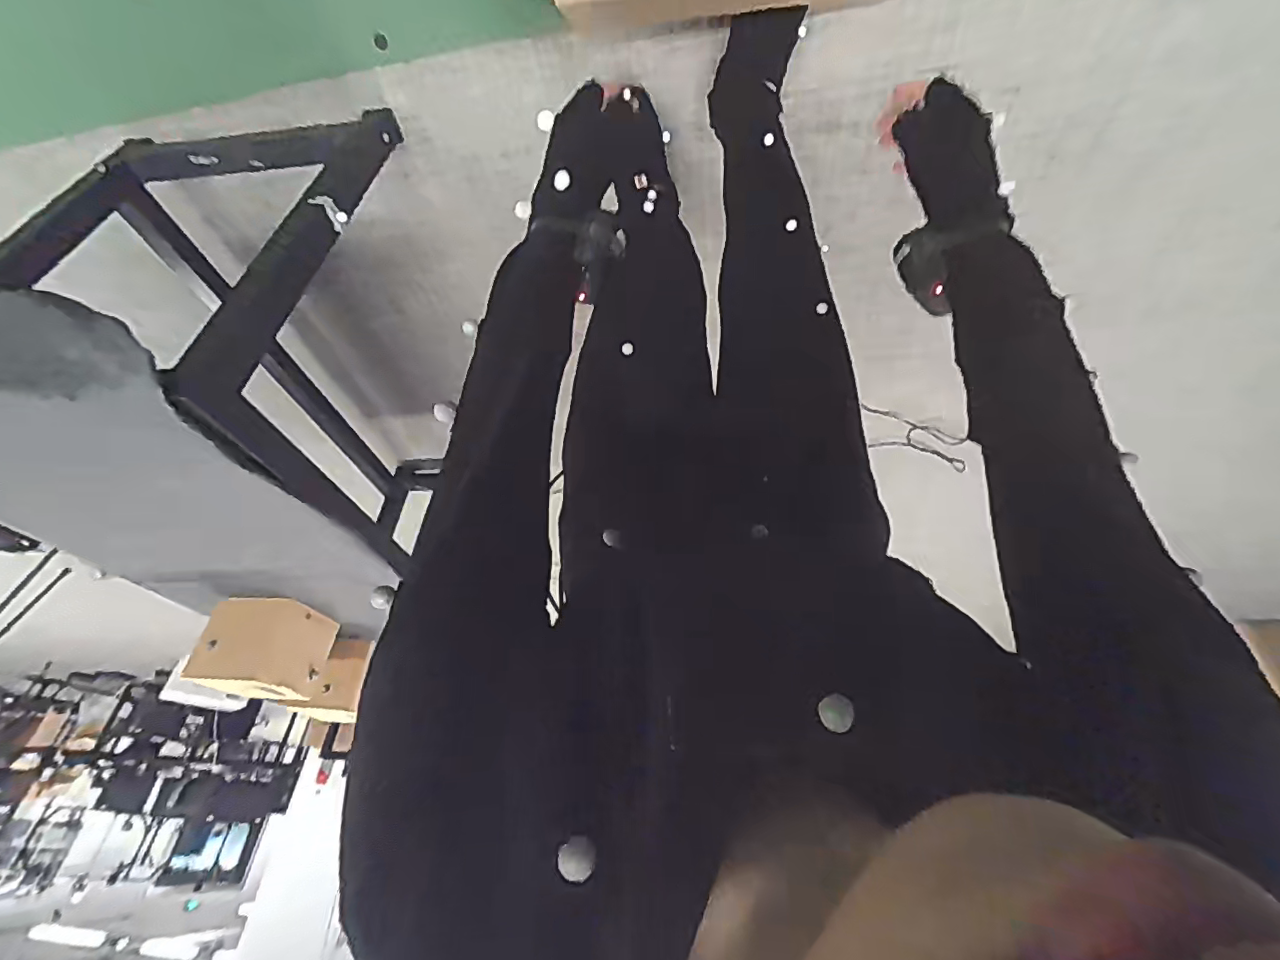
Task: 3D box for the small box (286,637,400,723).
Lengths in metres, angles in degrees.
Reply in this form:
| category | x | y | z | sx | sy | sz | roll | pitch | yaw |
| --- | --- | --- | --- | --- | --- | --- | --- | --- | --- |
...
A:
| category | x | y | z | sx | sy | sz | roll | pitch | yaw |
| --- | --- | --- | --- | --- | --- | --- | --- | --- | --- |
| small box | -0.730 | 0.502 | 1.360 | 0.179 | 0.176 | 0.168 | 0 | 145 | 8 |
